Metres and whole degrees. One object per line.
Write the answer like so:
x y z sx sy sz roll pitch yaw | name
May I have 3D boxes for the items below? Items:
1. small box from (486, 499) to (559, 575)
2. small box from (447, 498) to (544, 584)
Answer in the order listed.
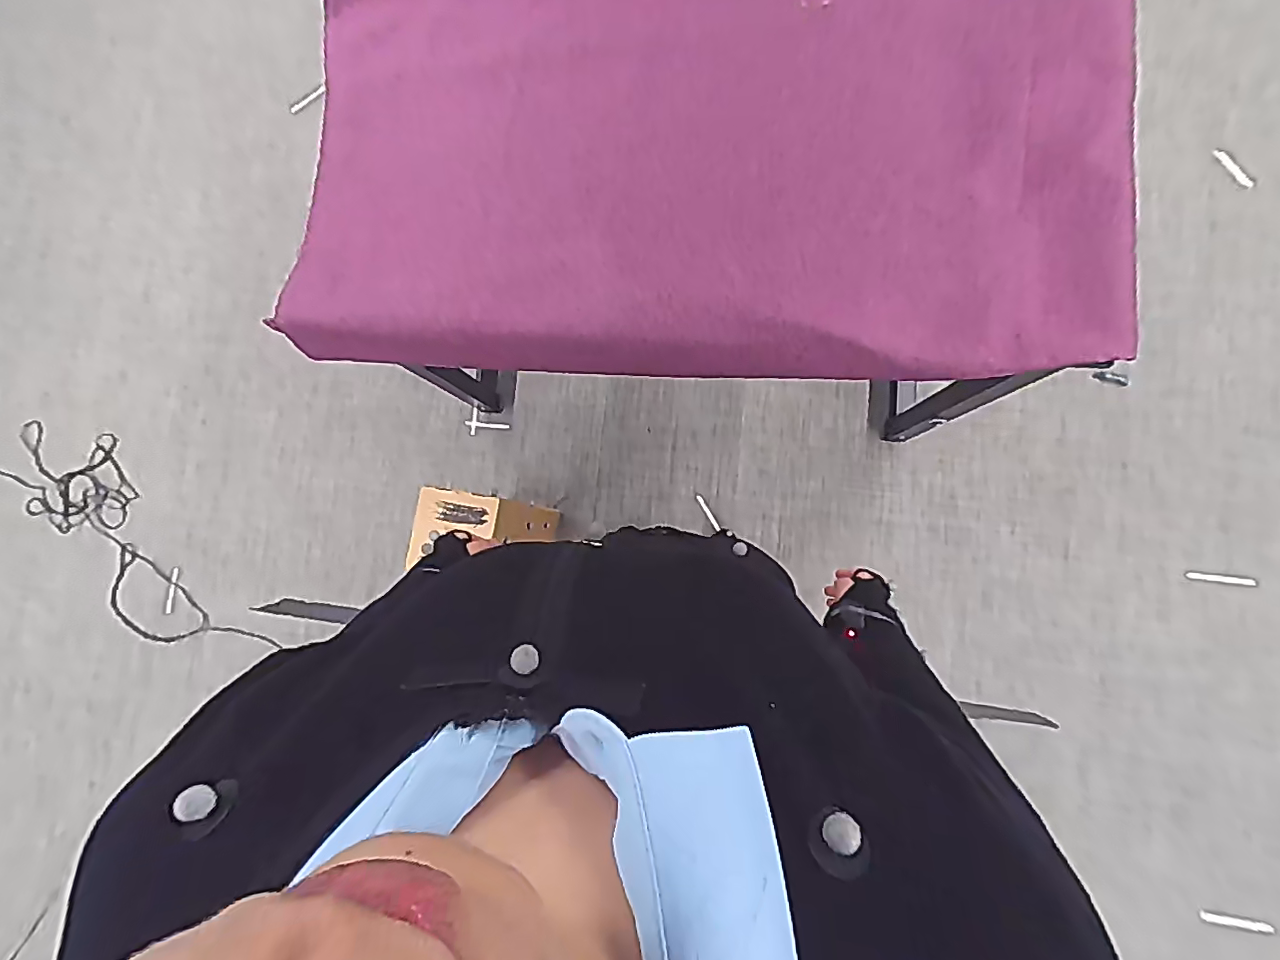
-0.329 0.158 1.459 0.168 0.176 0.179 12 85 7 | small box
-0.337 0.145 1.295 0.168 0.176 0.179 6 85 6 | small box
